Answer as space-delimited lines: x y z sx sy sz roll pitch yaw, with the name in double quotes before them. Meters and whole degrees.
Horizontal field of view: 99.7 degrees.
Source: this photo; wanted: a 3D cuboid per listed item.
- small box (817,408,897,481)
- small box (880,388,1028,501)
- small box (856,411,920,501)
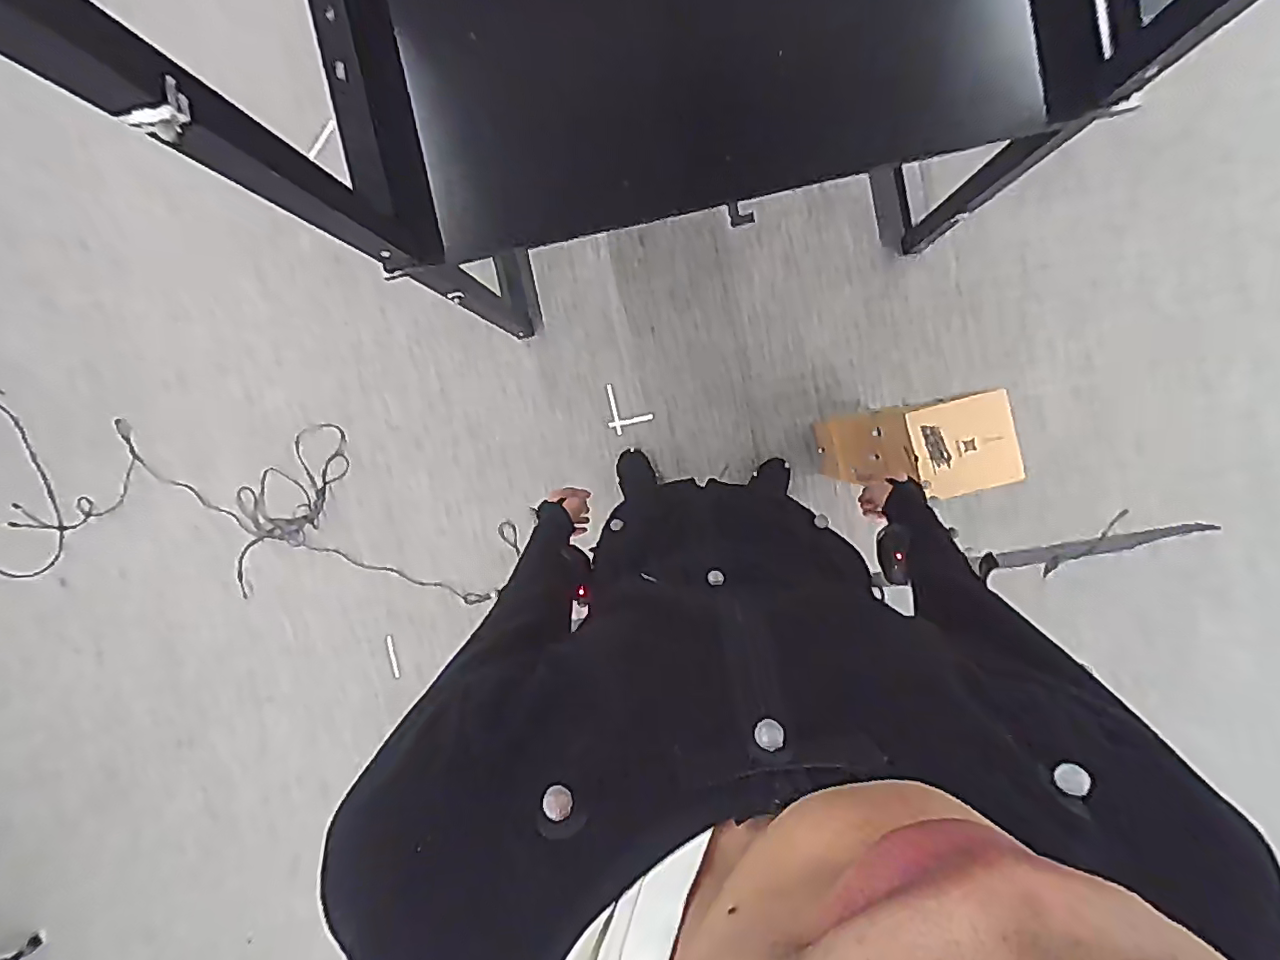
"small box" 0.612 -0.101 1.501 0.179 0.176 0.168 -13 94 6
"small box" 0.571 -0.066 1.012 0.179 0.176 0.168 -15 94 6
"small box" 0.591 -0.065 1.176 0.168 0.176 0.179 -14 94 6
